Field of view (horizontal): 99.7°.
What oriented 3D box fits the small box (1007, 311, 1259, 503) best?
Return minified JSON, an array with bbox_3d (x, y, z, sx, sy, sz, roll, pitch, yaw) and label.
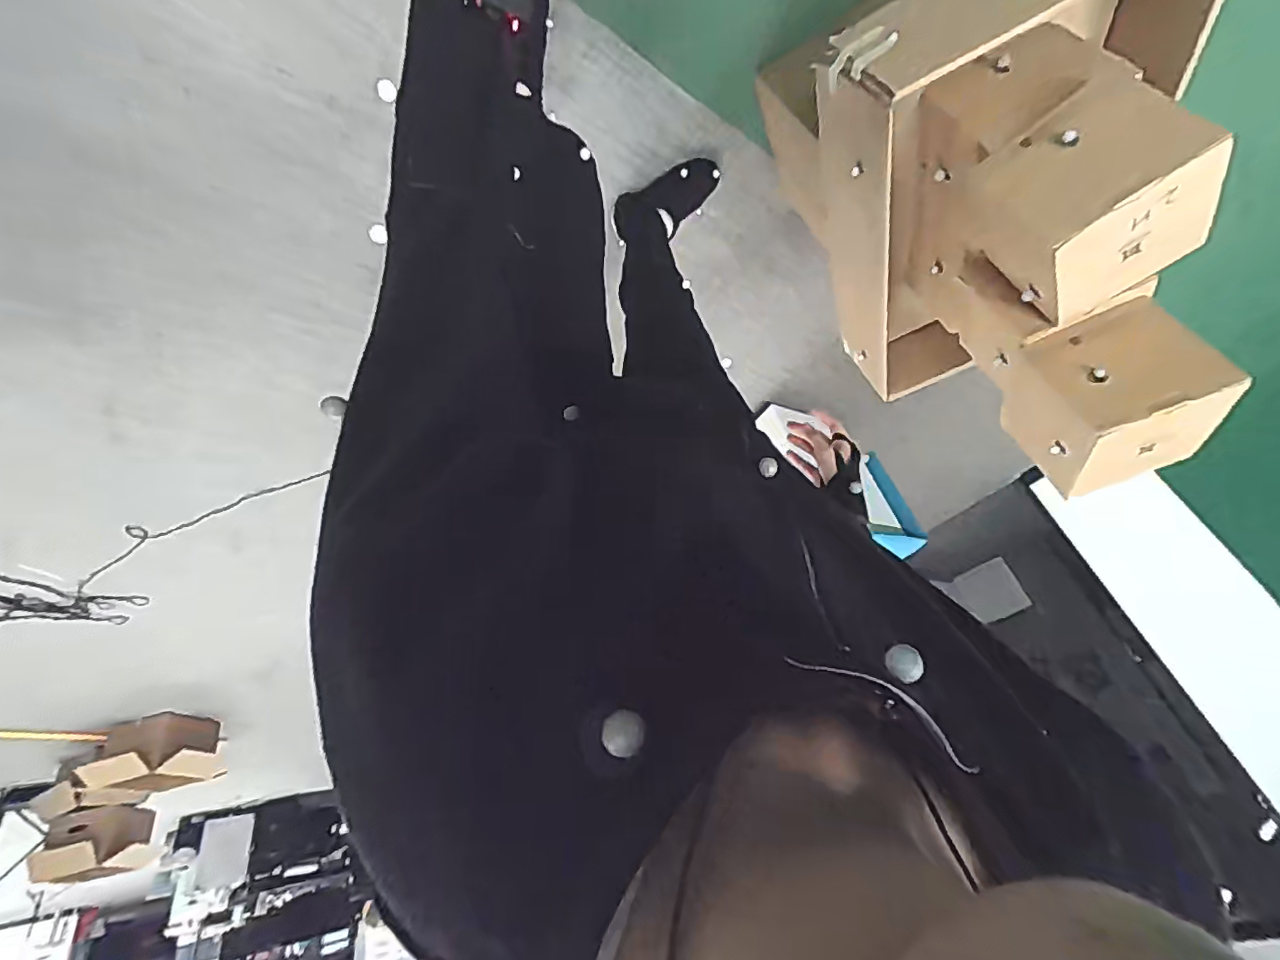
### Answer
[{"bbox_3d":[0.639,-0.102,0.735,0.168,0.176,0.179,-23,143,11],"label":"small box"}]
